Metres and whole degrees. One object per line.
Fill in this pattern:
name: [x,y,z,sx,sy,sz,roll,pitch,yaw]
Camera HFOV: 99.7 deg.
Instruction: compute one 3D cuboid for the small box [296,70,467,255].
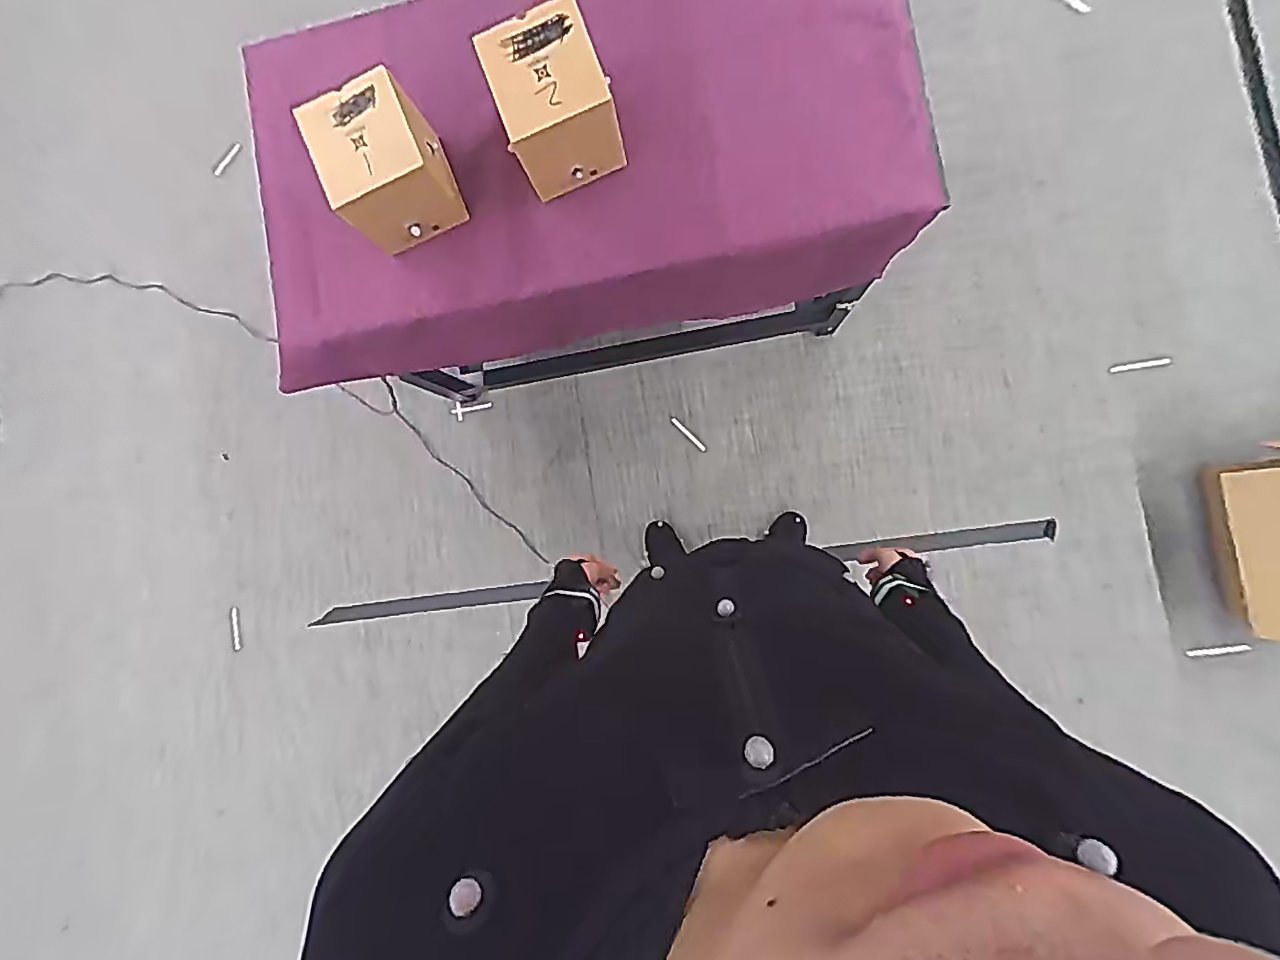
small box: [-0.422,-0.518,0.909,0.168,0.176,0.179,-23,86,6]
